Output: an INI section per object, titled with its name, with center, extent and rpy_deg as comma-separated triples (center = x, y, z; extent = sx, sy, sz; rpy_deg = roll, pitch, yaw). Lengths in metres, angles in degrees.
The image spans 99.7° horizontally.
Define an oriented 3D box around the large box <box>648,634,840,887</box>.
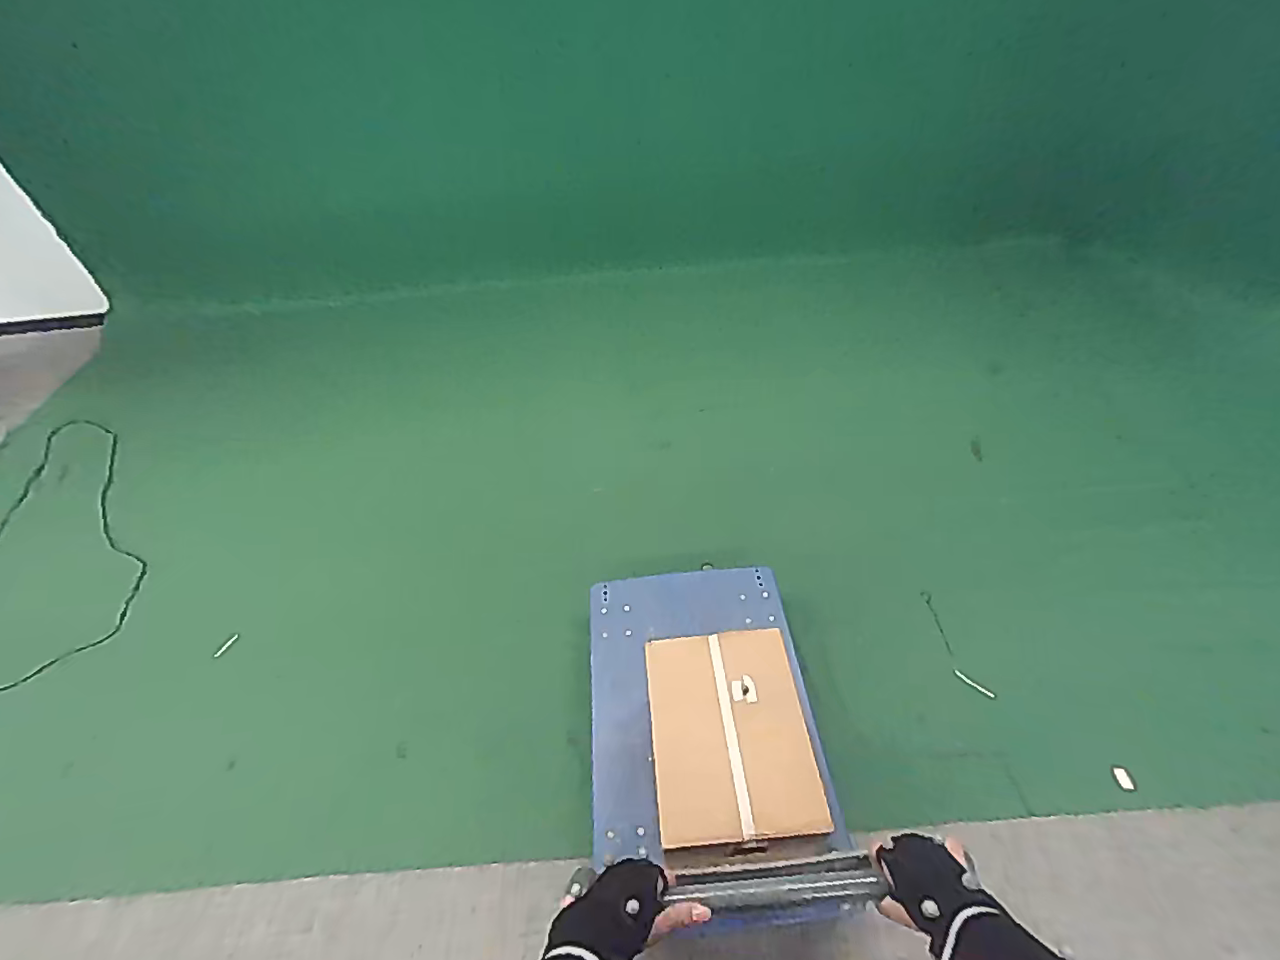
[large box]
center = 0.198, 0.610, 1.189
extent = 0.320, 0.320, 0.408
rpy_deg = -5, 45, -1
